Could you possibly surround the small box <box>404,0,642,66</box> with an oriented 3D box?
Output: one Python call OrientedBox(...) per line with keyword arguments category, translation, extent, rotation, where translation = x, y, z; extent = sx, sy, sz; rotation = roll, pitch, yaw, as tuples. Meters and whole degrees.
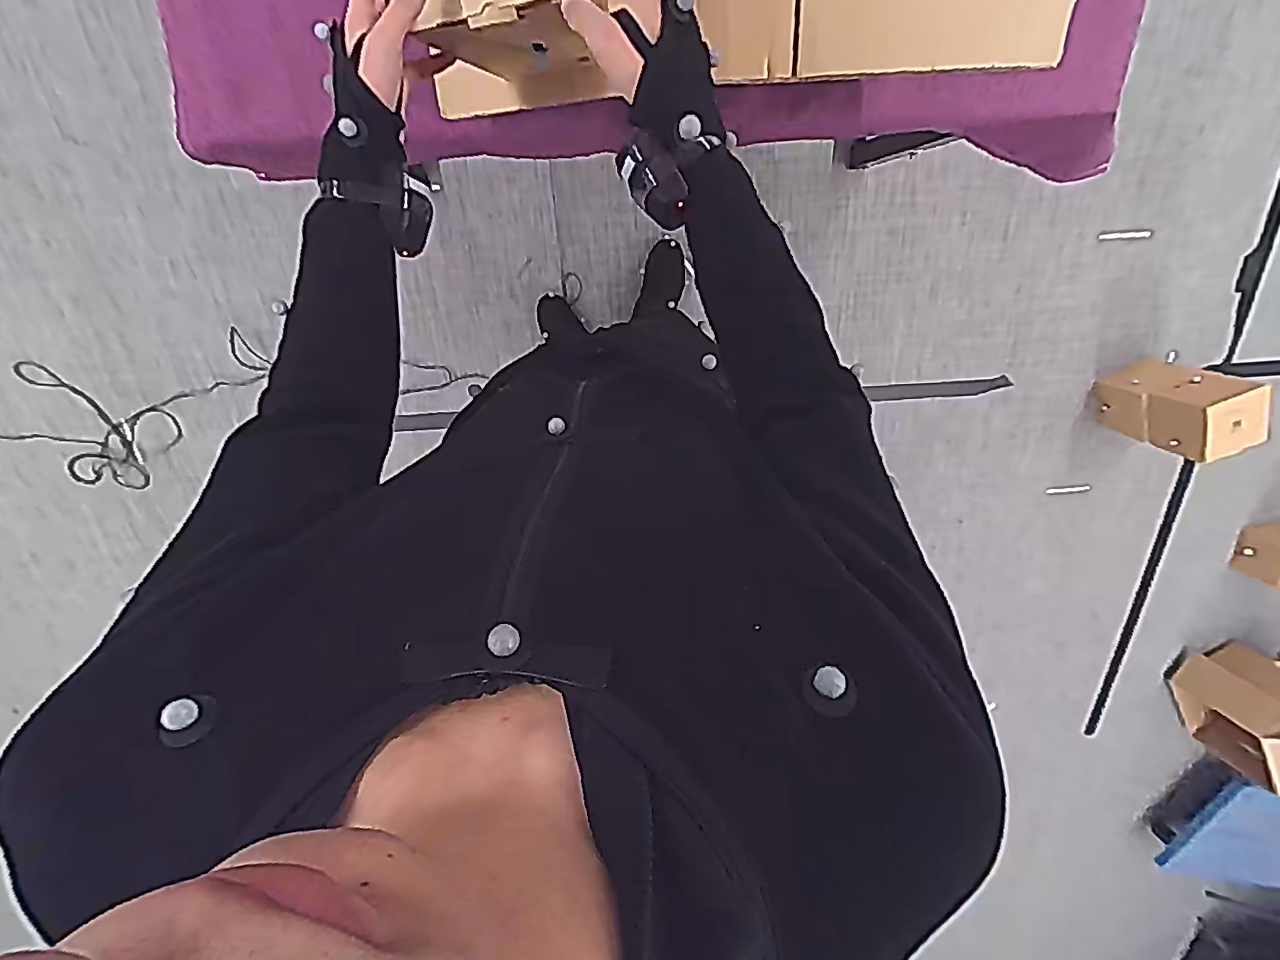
OrientedBox(category="small box", translation=(-0.101, -0.487, 0.471), extent=(0.168, 0.176, 0.179), rotation=(3, 116, 16))
